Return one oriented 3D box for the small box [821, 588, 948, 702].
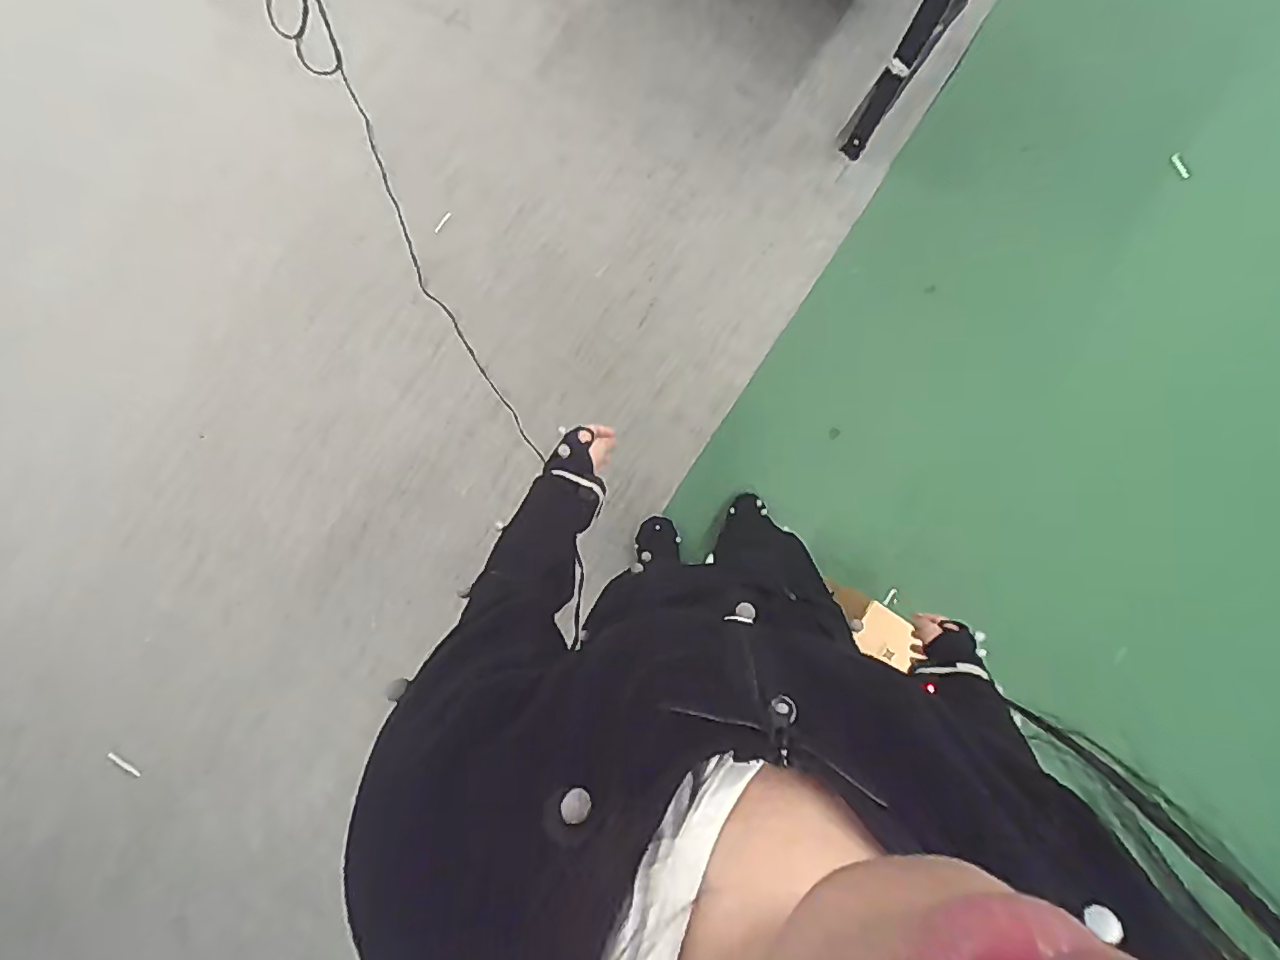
[{"bbox_3d":[0.553,0.367,1.246,0.179,0.176,0.168,33,90,3],"label":"small box"}]
